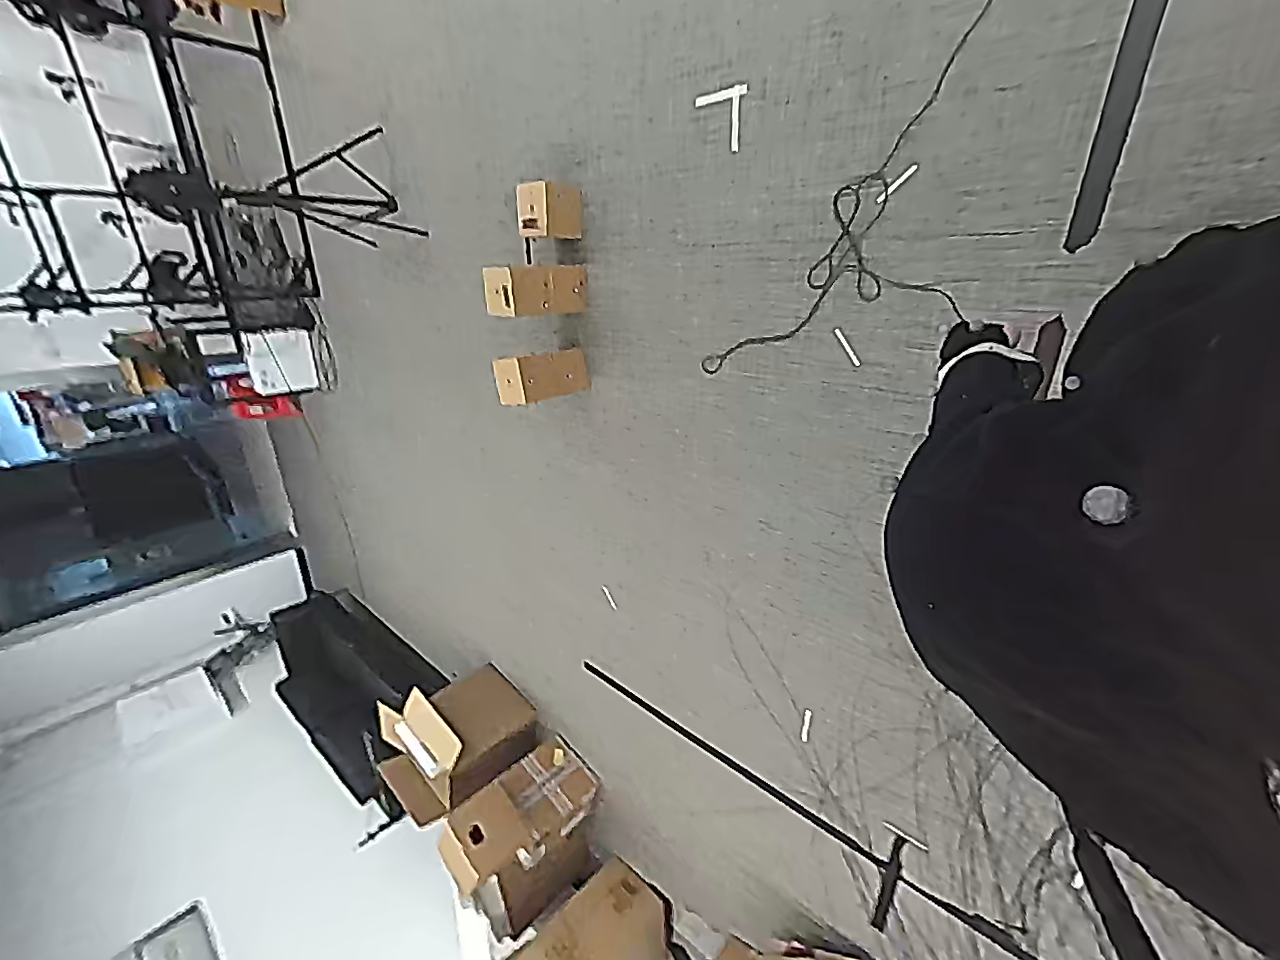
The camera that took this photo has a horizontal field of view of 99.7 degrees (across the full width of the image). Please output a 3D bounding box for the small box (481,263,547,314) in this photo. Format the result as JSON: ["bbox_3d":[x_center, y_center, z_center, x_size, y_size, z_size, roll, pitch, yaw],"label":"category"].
[{"bbox_3d":[-0.451,-0.702,1.972,0.179,0.176,0.168,19,119,39],"label":"small box"}]

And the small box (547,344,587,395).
[{"bbox_3d":[-0.336,-0.449,2.209,0.168,0.176,0.179,4,110,43],"label":"small box"}]

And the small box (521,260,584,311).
[{"bbox_3d":[-0.334,-0.751,2.077,0.179,0.176,0.168,21,122,36],"label":"small box"}]

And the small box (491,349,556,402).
[{"bbox_3d":[-0.446,-0.404,2.097,0.168,0.176,0.179,5,109,42],"label":"small box"}]
